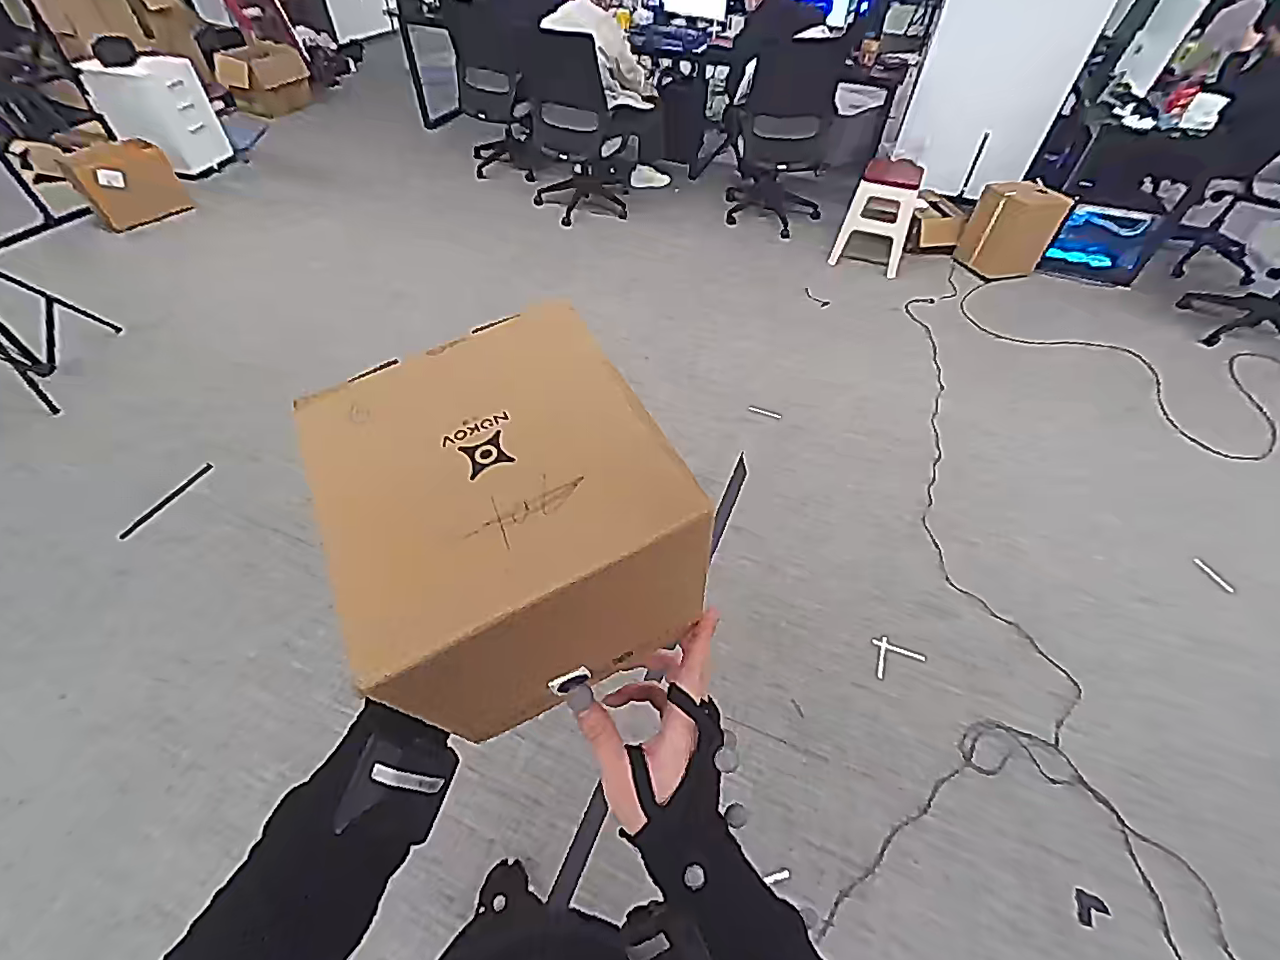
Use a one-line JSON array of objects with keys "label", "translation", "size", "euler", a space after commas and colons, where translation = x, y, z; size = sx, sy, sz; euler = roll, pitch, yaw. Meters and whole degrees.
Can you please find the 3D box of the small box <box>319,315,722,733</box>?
[{"label": "small box", "translation": [-0.068, 0.034, 0.349], "size": [0.168, 0.176, 0.179], "euler": [-26, 60, -12]}]
